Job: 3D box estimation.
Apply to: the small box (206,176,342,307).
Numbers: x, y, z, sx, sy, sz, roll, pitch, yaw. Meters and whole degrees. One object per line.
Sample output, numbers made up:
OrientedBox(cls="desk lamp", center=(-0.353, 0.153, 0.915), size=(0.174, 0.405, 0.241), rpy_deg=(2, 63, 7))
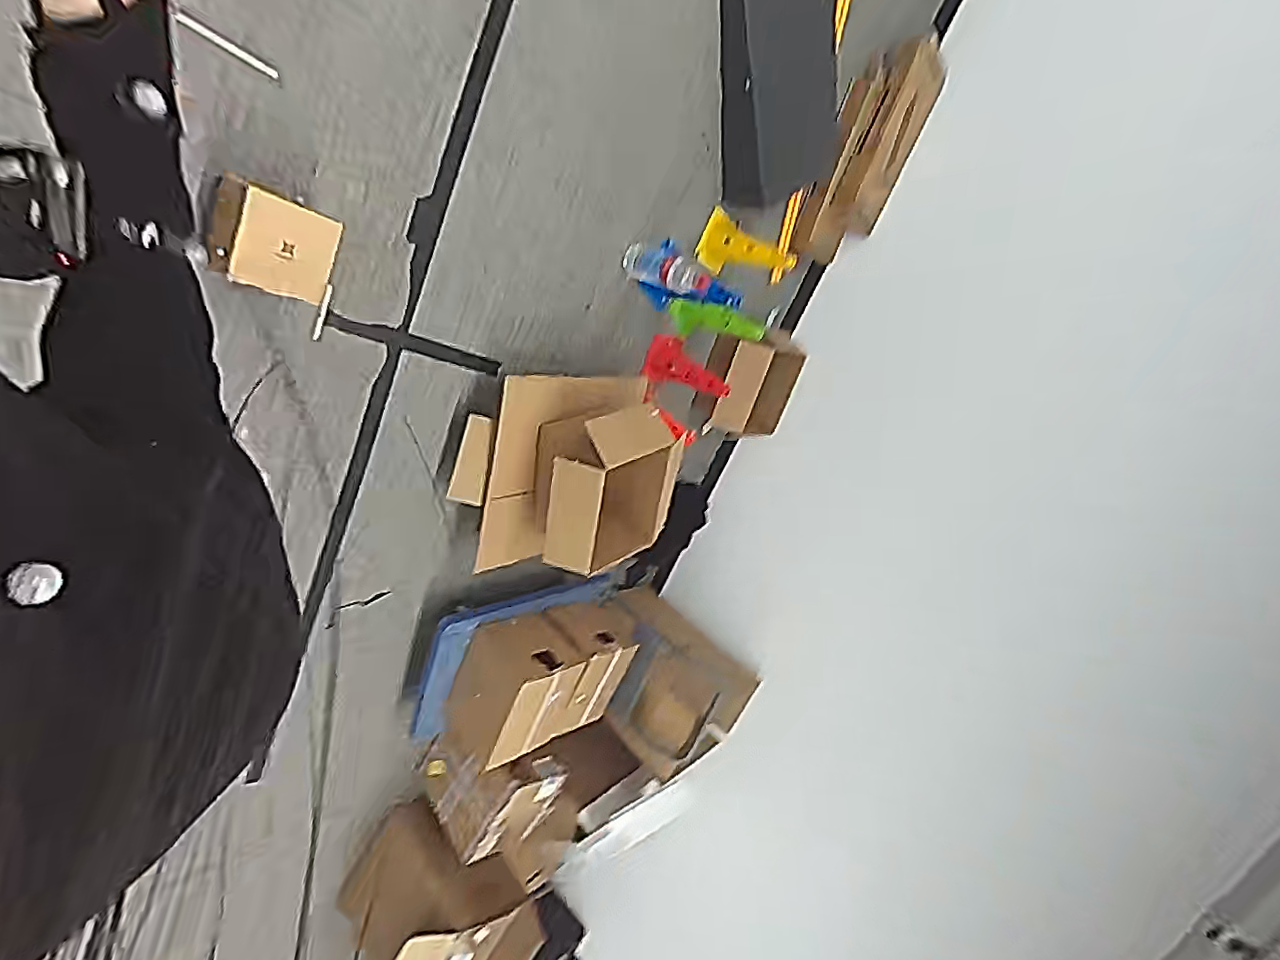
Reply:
OrientedBox(cls="small box", center=(-0.738, -0.479, 1.086), size=(0.168, 0.176, 0.179), rpy_deg=(5, 115, -54))
